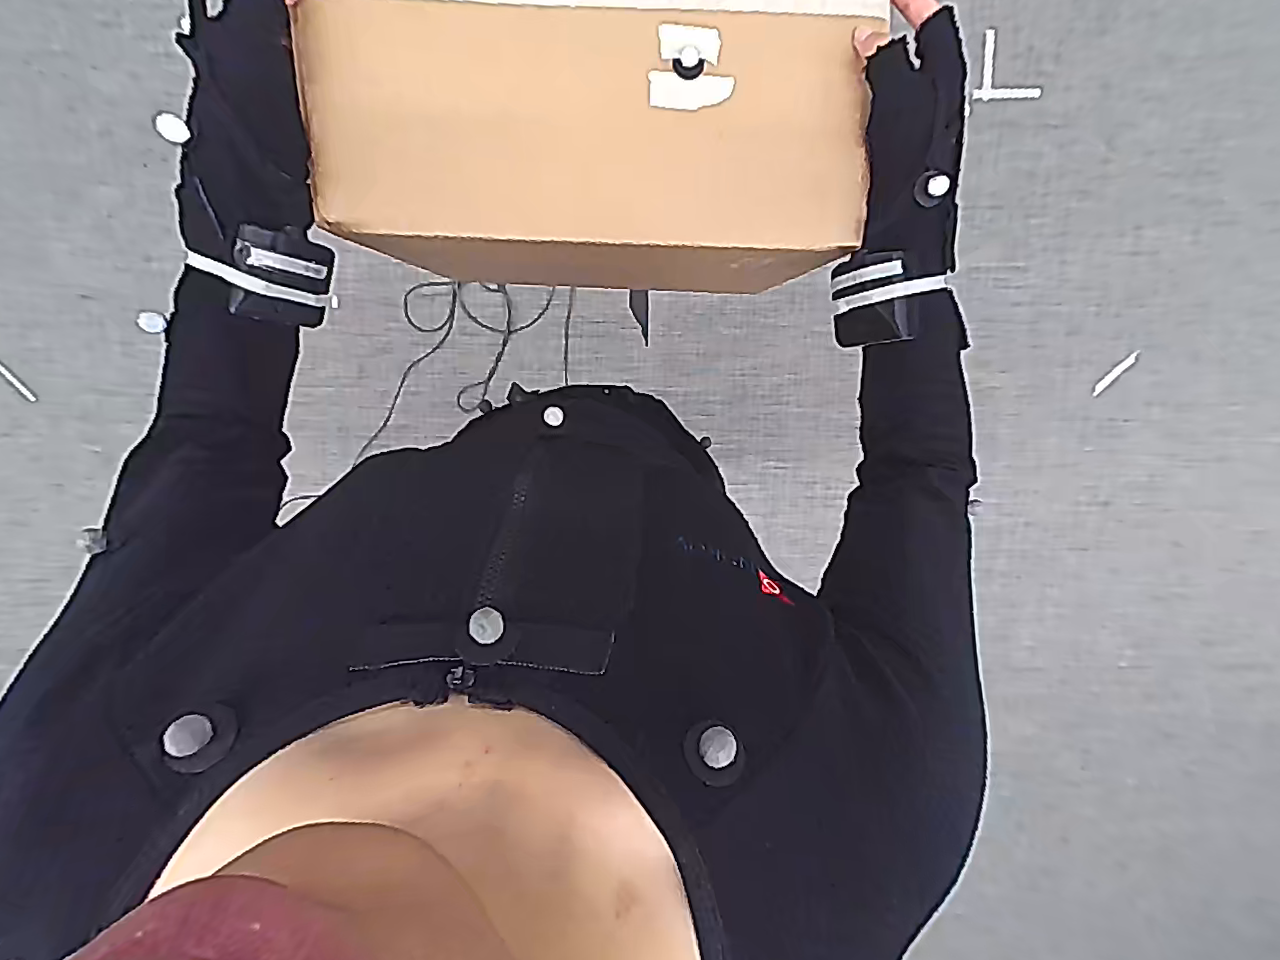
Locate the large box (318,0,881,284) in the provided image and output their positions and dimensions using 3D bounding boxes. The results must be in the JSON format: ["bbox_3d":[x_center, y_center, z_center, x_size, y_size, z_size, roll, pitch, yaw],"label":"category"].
[{"bbox_3d":[-0.032,-0.373,0.525,0.408,0.320,0.320,1,104,-2],"label":"large box"}]
